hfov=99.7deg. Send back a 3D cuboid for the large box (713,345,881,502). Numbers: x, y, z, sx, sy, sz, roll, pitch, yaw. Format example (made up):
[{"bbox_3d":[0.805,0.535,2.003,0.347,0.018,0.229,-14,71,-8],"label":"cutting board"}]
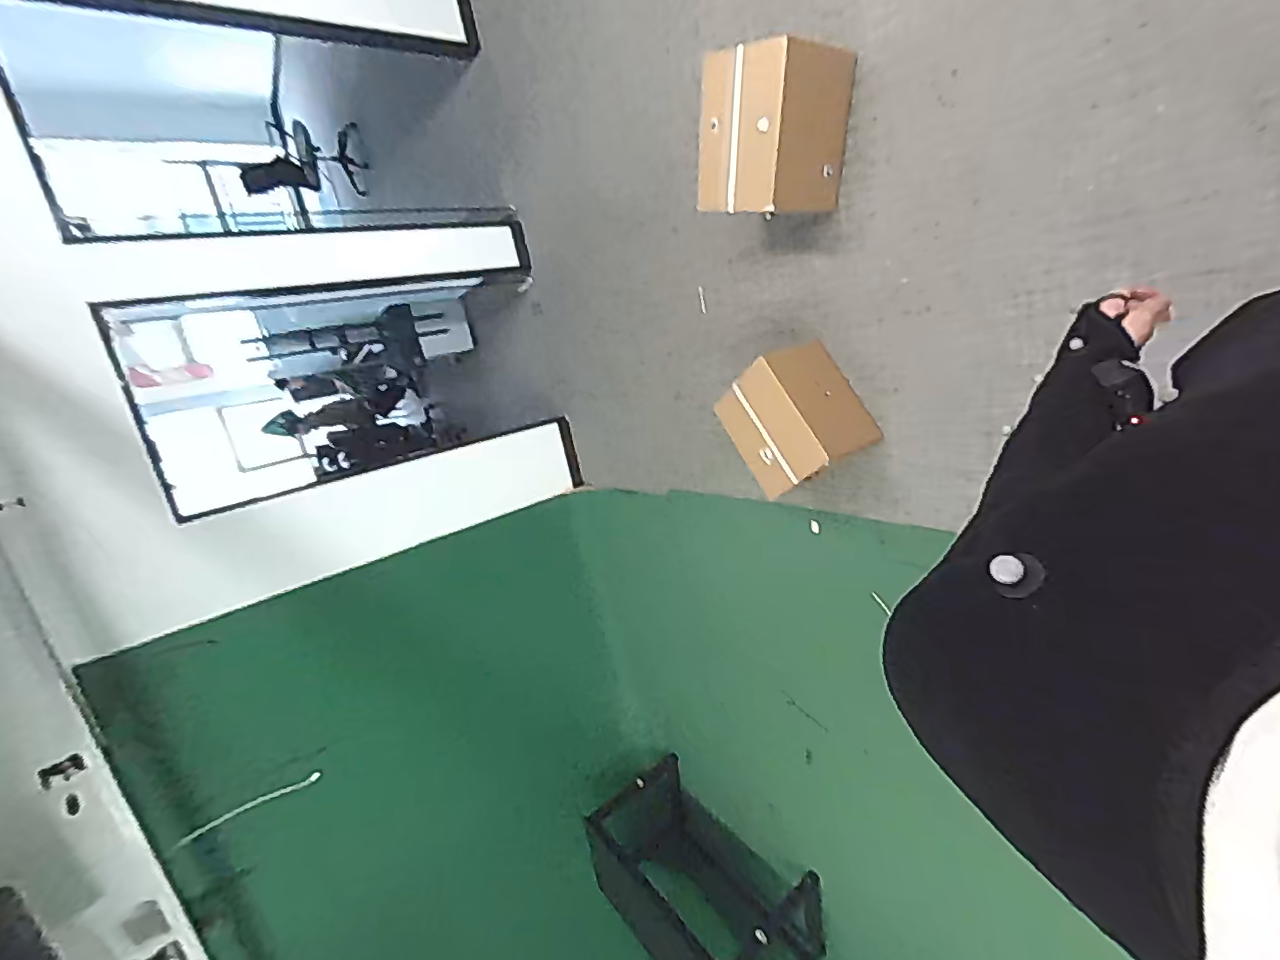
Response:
[{"bbox_3d":[0.536,-0.200,1.874,0.408,0.320,0.320,60,146,13],"label":"large box"}]
